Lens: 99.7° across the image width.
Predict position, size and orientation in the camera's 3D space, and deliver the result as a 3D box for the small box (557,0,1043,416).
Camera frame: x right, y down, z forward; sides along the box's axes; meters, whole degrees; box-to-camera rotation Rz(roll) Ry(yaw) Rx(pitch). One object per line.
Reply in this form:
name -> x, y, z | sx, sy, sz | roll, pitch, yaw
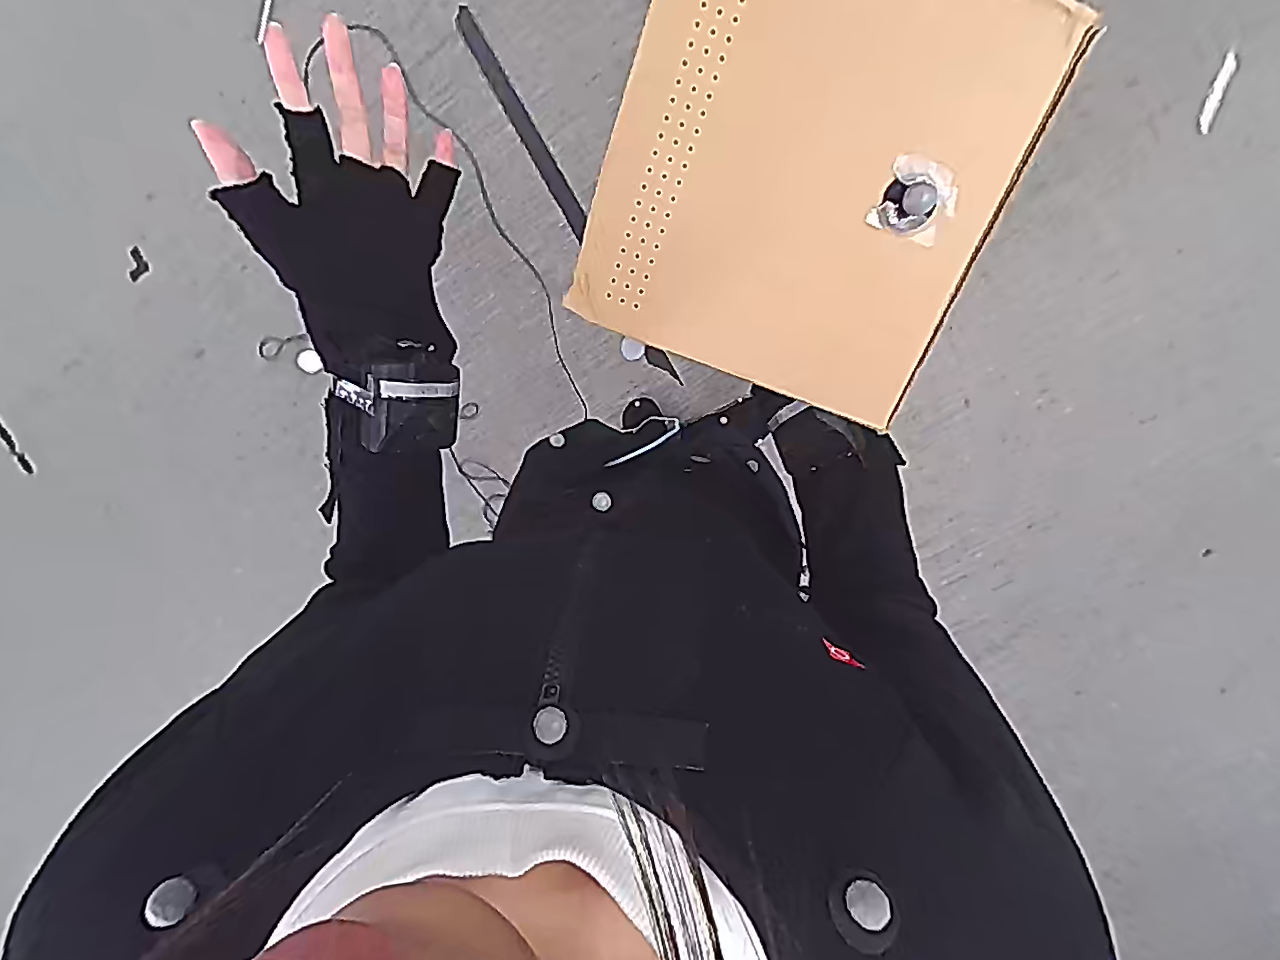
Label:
small box -> 0.058, -0.158, 0.309 | 0.176, 0.168, 0.179 | 18, 108, -8
